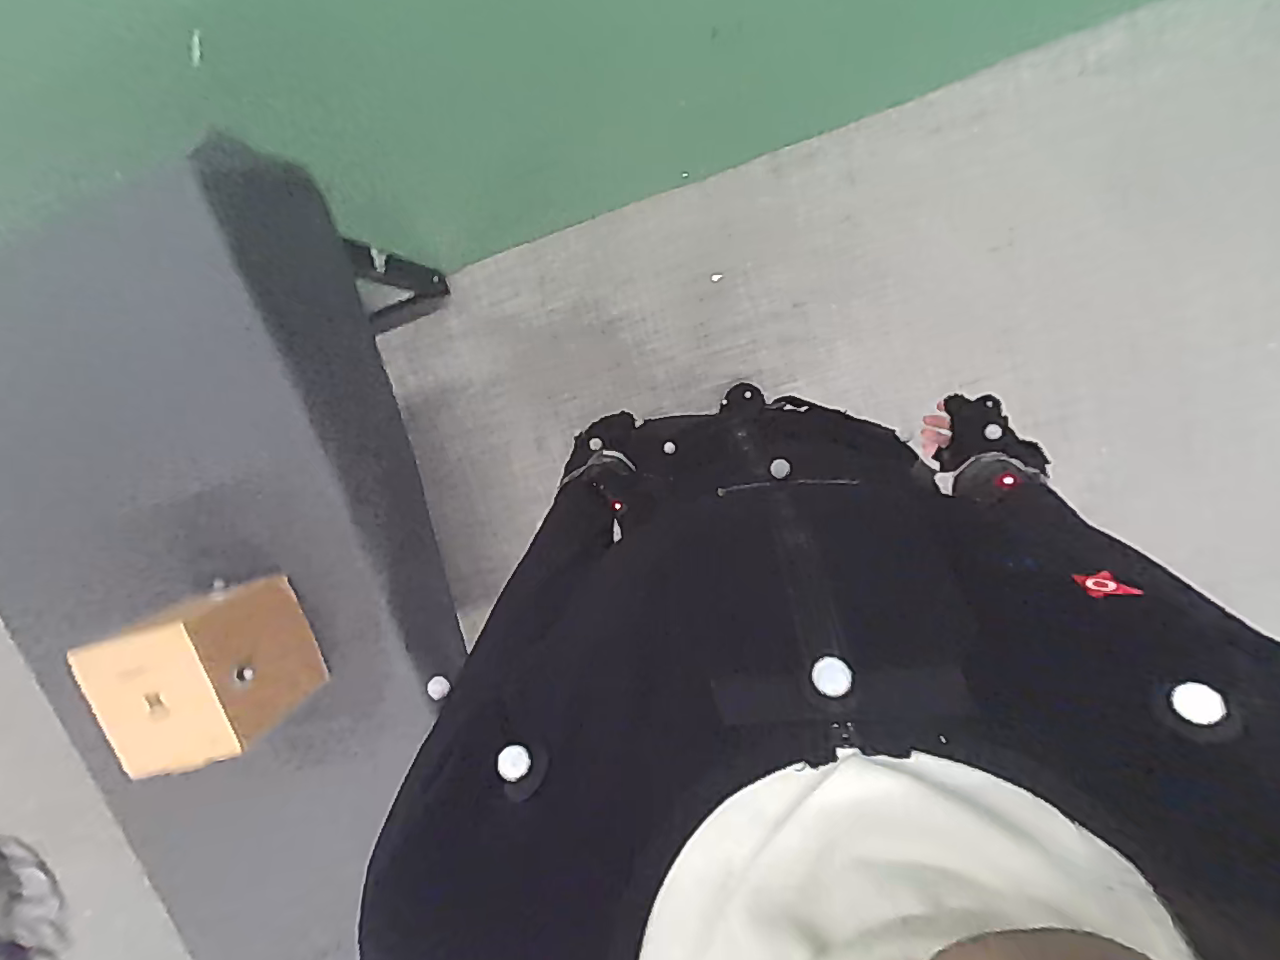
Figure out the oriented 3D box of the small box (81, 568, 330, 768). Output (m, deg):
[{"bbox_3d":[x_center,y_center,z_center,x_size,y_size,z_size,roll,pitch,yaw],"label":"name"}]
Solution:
[{"bbox_3d":[-0.562,0.242,0.728,0.168,0.176,0.179,-16,98,8],"label":"small box"}]
